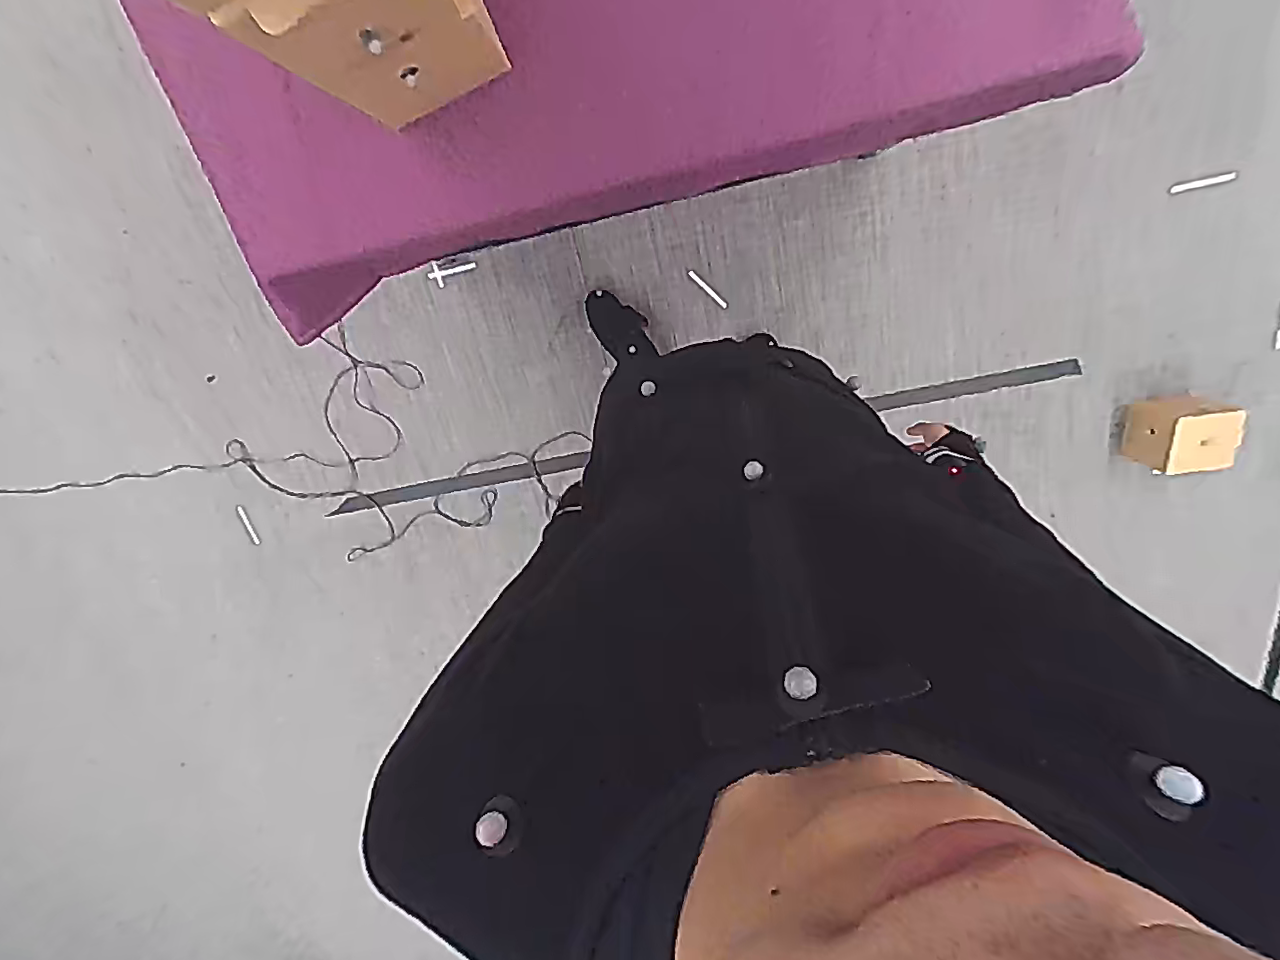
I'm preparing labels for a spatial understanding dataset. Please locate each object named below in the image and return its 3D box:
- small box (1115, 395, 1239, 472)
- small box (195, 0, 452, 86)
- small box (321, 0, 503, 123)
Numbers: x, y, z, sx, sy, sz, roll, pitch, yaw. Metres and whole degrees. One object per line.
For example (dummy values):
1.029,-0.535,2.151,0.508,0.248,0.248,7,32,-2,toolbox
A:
1.511,-0.135,1.537,0.179,0.176,0.168,-8,111,3,small box
-0.291,-0.483,0.454,0.168,0.176,0.179,-22,110,9,small box
-0.281,-0.540,0.608,0.179,0.176,0.168,-22,110,8,small box
